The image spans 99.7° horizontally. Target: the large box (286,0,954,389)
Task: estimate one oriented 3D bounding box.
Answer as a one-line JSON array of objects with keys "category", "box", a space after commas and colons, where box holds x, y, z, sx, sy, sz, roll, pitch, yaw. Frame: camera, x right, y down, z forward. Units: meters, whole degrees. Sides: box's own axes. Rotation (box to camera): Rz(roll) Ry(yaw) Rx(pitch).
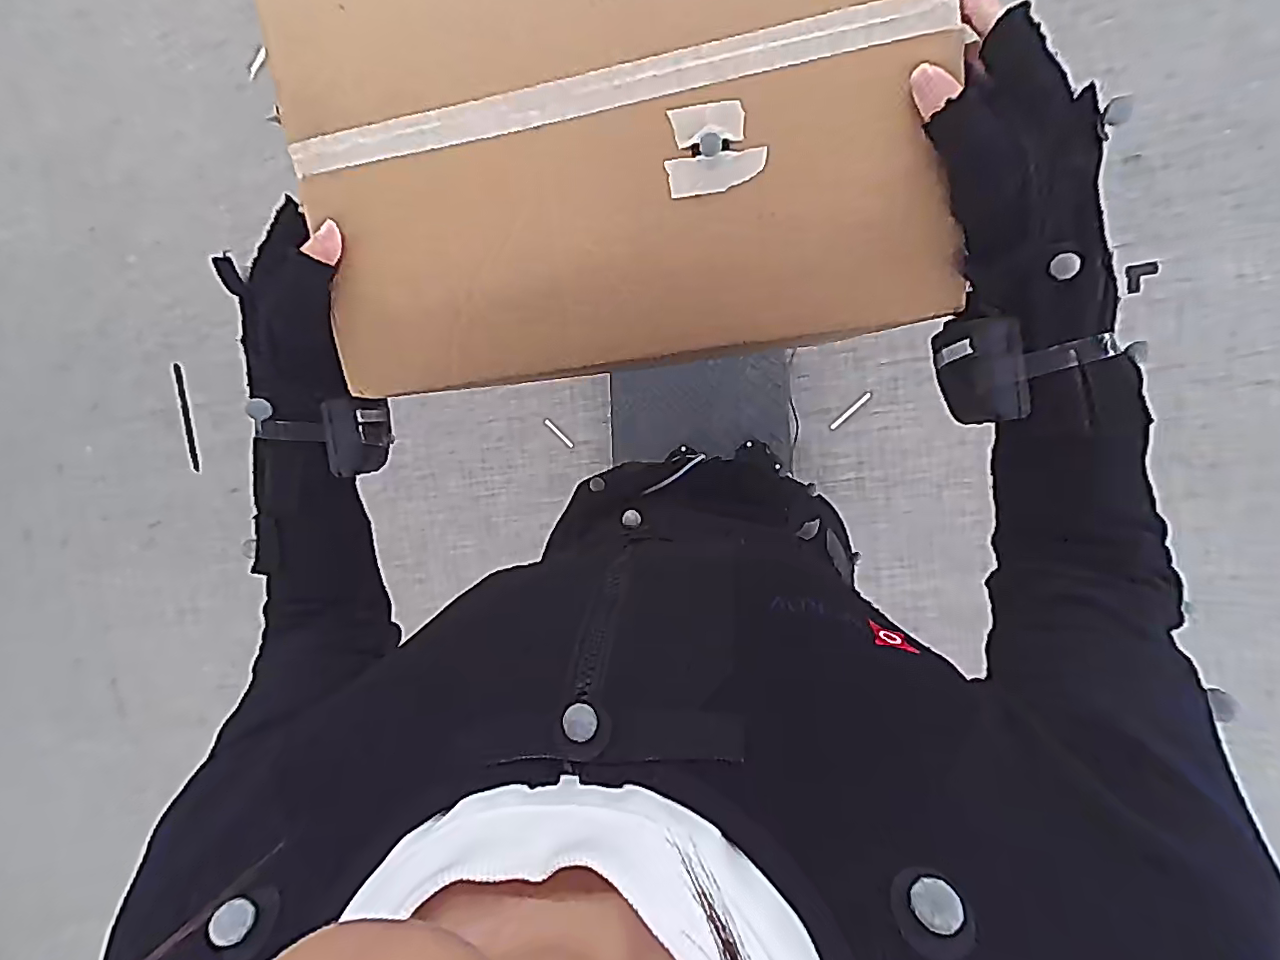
[{"category": "large box", "box": [-0.004, -0.268, 0.482, 0.408, 0.320, 0.320, -6, 101, 9]}]
